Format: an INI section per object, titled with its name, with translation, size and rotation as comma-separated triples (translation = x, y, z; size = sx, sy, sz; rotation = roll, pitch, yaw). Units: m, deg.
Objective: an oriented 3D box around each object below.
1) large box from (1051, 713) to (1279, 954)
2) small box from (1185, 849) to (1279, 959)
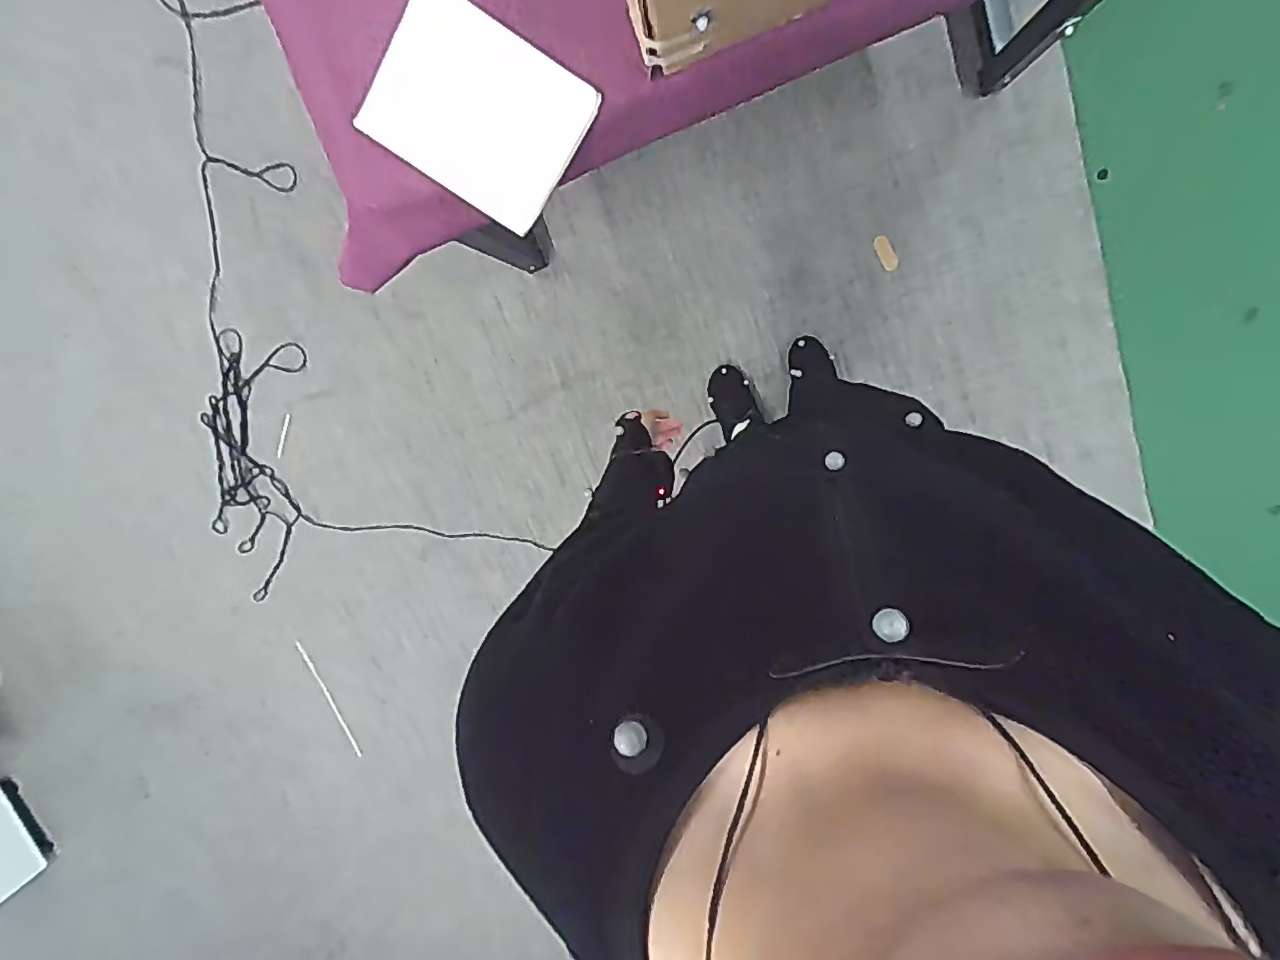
[large box]
translation = 1.419, 0.897, 1.406
size = 0.408, 0.320, 0.320
rotation = -33, 98, 12
[small box]
translation = 1.351, 0.940, 1.168
size = 0.168, 0.176, 0.179
rotation = -27, 98, 13
